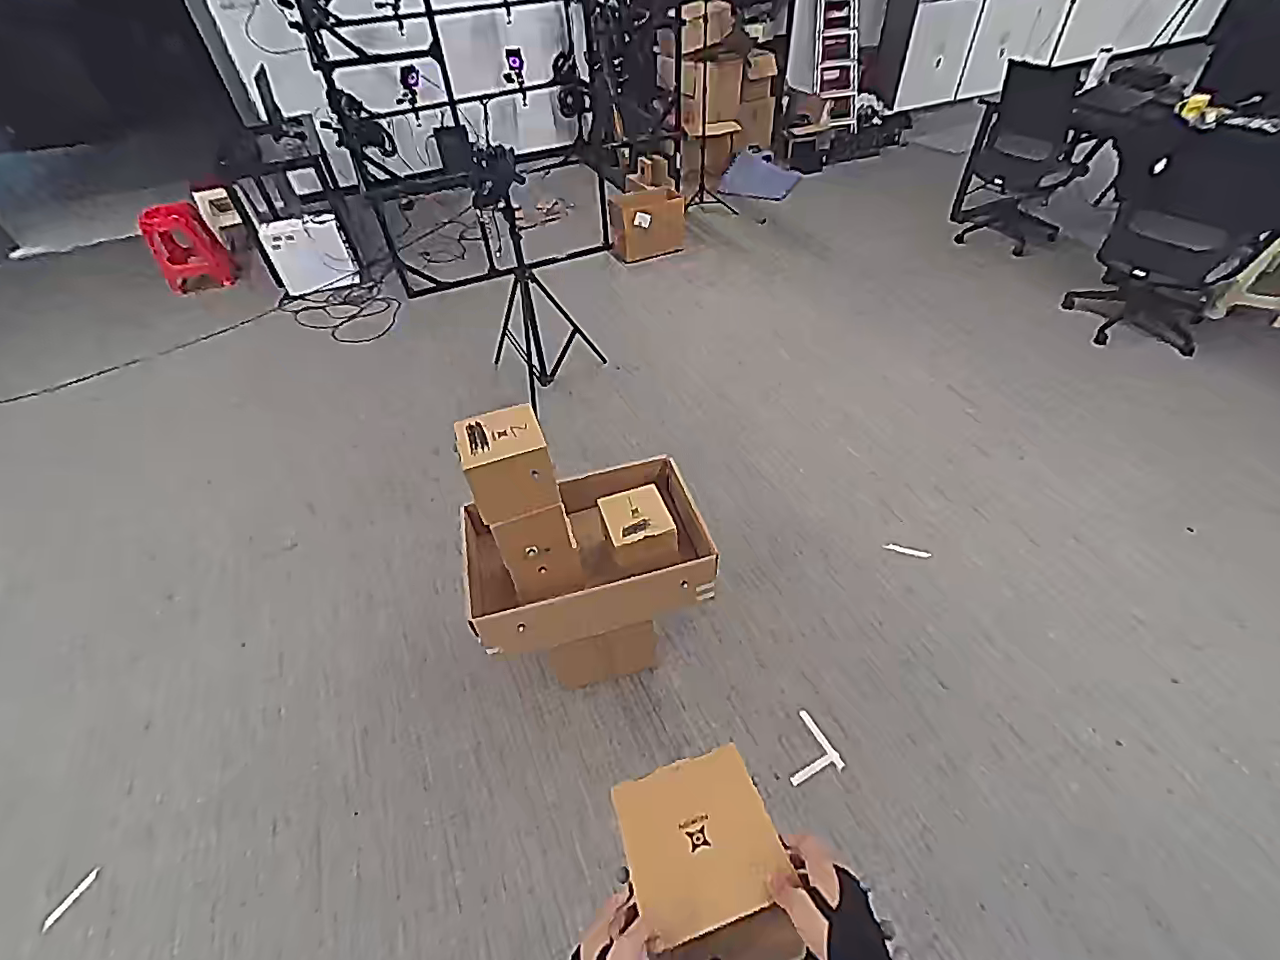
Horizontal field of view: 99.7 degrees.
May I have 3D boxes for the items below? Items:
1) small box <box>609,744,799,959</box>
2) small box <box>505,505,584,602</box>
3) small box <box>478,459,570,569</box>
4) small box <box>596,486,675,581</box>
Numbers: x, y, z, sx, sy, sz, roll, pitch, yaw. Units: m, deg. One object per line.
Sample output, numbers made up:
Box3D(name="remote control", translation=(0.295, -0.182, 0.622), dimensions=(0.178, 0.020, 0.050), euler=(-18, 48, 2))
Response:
Box3D(name="small box", translation=(0.075, 0.460, 0.635), dimensions=(0.168, 0.176, 0.179), euler=(-16, 29, -9))
Box3D(name="small box", translation=(-0.259, 0.196, 1.421), dimensions=(0.179, 0.176, 0.168), euler=(-16, 47, -11))
Box3D(name="small box", translation=(-0.278, 0.083, 1.305), dimensions=(0.168, 0.176, 0.179), euler=(-18, 46, -12))
Box3D(name="small box", translation=(-0.009, 0.149, 1.448), dimensions=(0.168, 0.176, 0.179), euler=(-16, 46, -11))
